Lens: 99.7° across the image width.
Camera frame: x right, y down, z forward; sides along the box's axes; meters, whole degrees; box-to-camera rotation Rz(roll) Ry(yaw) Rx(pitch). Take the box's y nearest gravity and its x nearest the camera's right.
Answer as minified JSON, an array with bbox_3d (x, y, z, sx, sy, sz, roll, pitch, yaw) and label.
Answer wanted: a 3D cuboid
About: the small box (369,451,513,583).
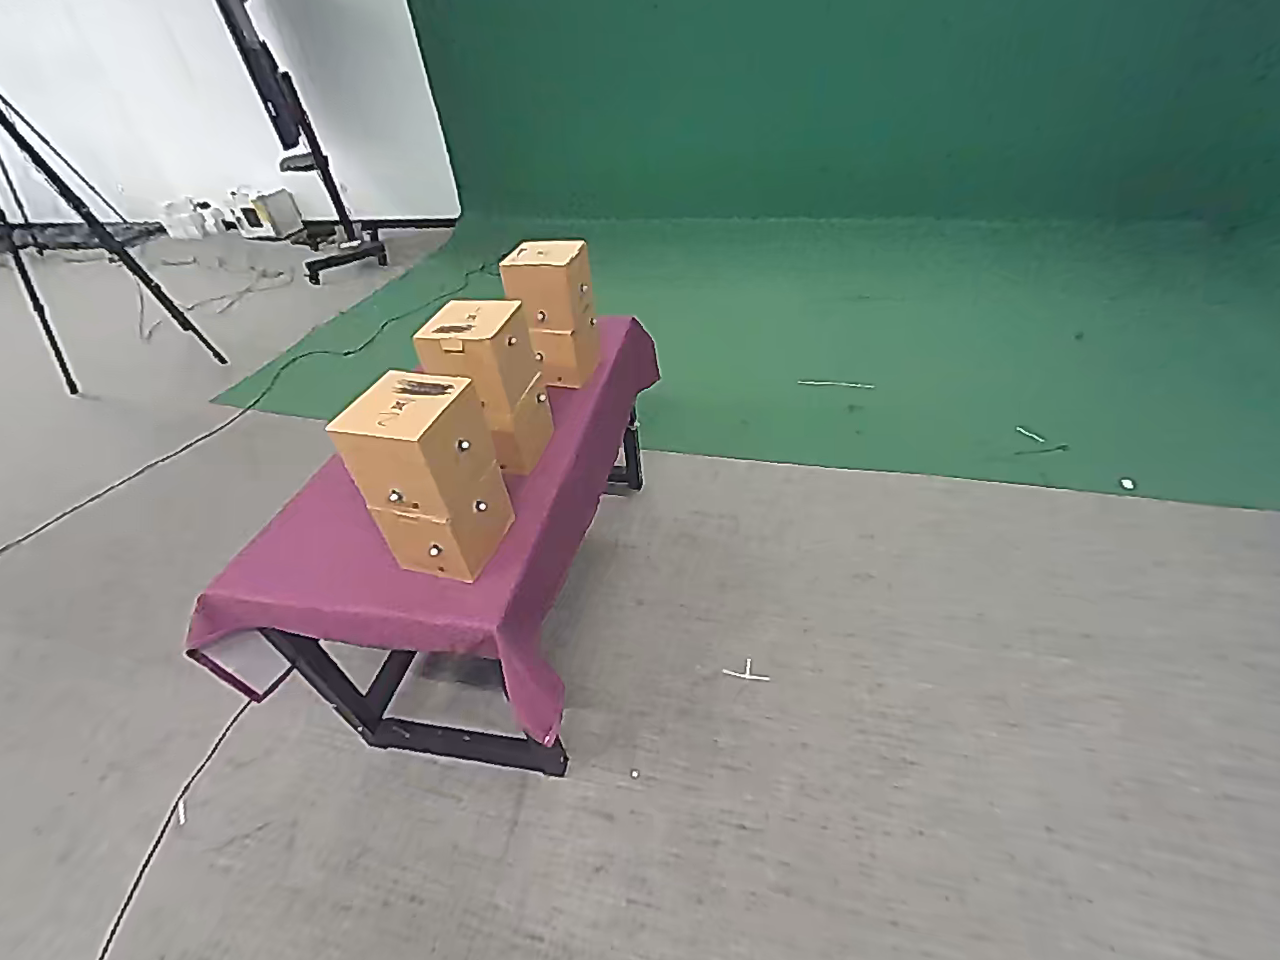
[{"bbox_3d":[-0.362,0.070,1.024,0.168,0.176,0.179,9,43,16],"label":"small box"}]

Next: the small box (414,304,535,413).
[{"bbox_3d":[-0.333,-0.254,1.136,0.168,0.176,0.179,4,41,11],"label":"small box"}]

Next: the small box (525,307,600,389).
[{"bbox_3d":[-0.219,-0.368,1.503,0.168,0.176,0.179,8,43,16],"label":"small box"}]

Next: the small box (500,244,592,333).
[{"bbox_3d":[-0.233,-0.494,1.397,0.179,0.176,0.168,6,42,13],"label":"small box"}]

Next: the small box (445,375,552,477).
[{"bbox_3d":[-0.313,-0.130,1.243,0.168,0.176,0.179,5,42,14],"label":"small box"}]
